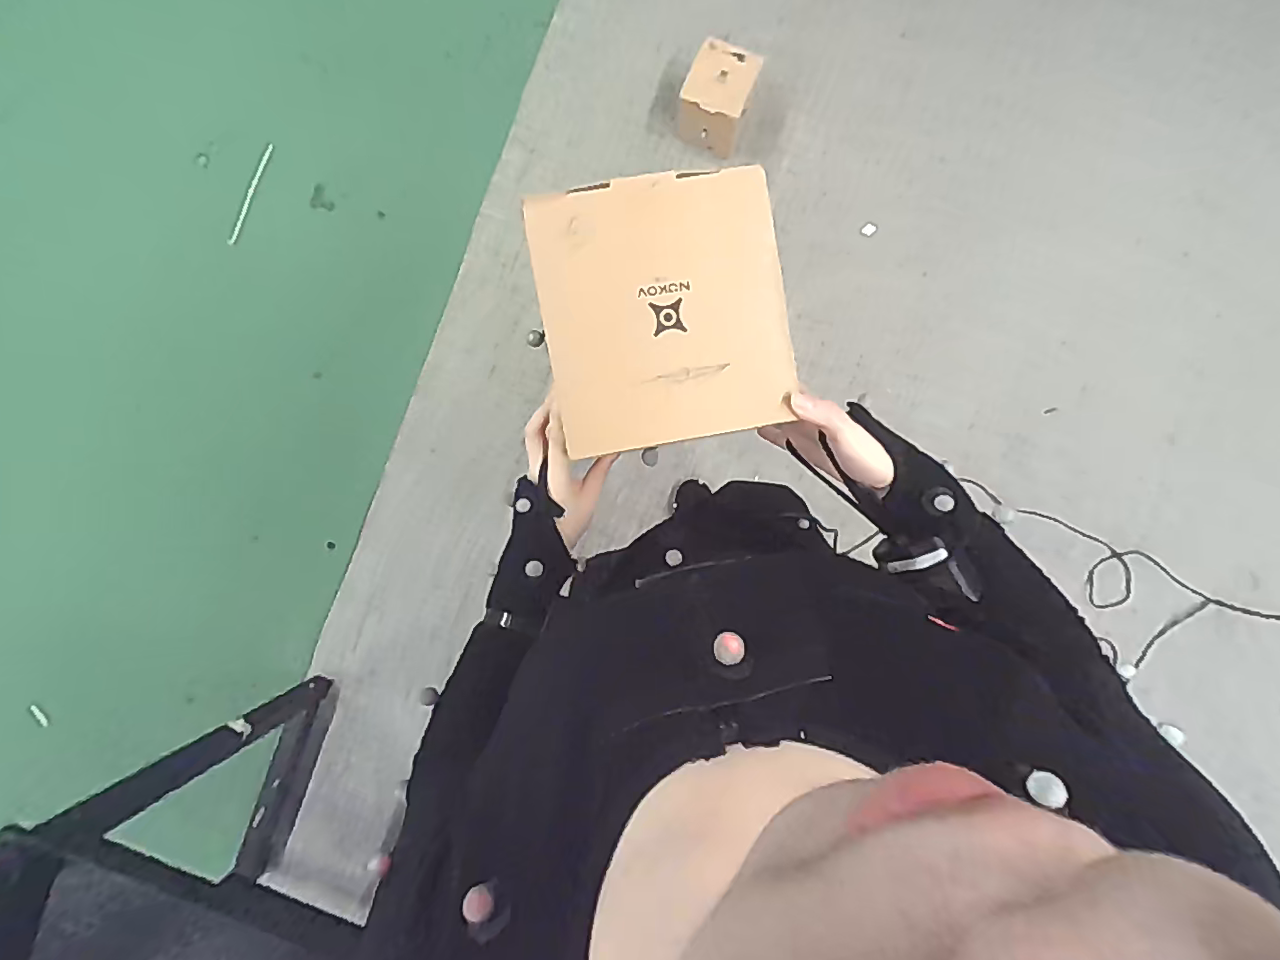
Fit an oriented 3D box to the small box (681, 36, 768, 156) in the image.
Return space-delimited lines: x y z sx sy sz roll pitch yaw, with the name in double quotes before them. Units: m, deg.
"small box" 0.220 -1.011 1.441 0.168 0.176 0.179 25 90 3
